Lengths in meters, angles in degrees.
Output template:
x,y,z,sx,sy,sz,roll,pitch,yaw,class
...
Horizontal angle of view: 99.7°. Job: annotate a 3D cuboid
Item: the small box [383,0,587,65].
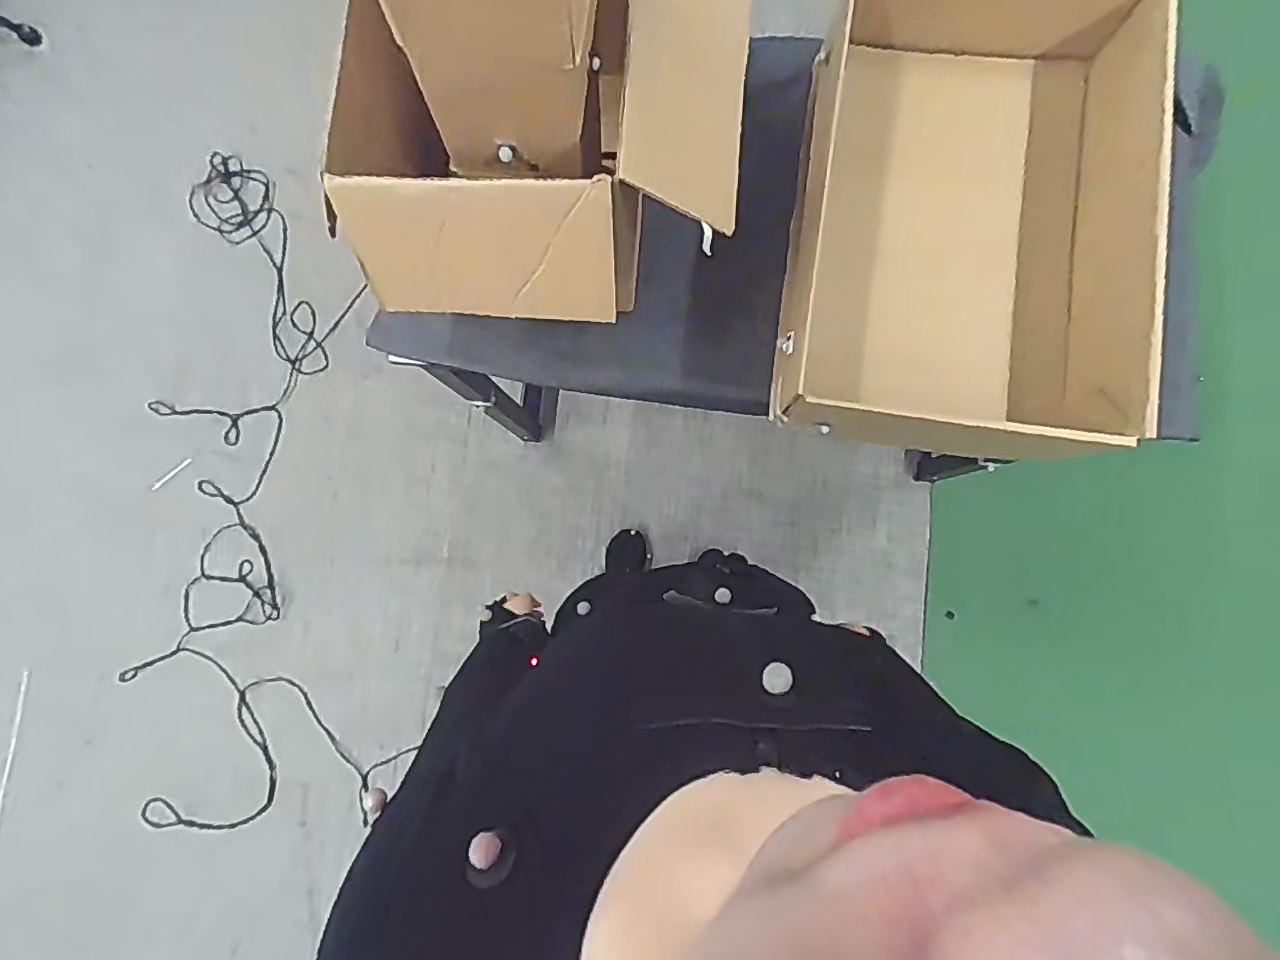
x,y,z,sx,sy,sz,roll,pitch,yaw,class
-0.135,-0.492,0.448,0.179,0.176,0.168,7,82,-1,small box
